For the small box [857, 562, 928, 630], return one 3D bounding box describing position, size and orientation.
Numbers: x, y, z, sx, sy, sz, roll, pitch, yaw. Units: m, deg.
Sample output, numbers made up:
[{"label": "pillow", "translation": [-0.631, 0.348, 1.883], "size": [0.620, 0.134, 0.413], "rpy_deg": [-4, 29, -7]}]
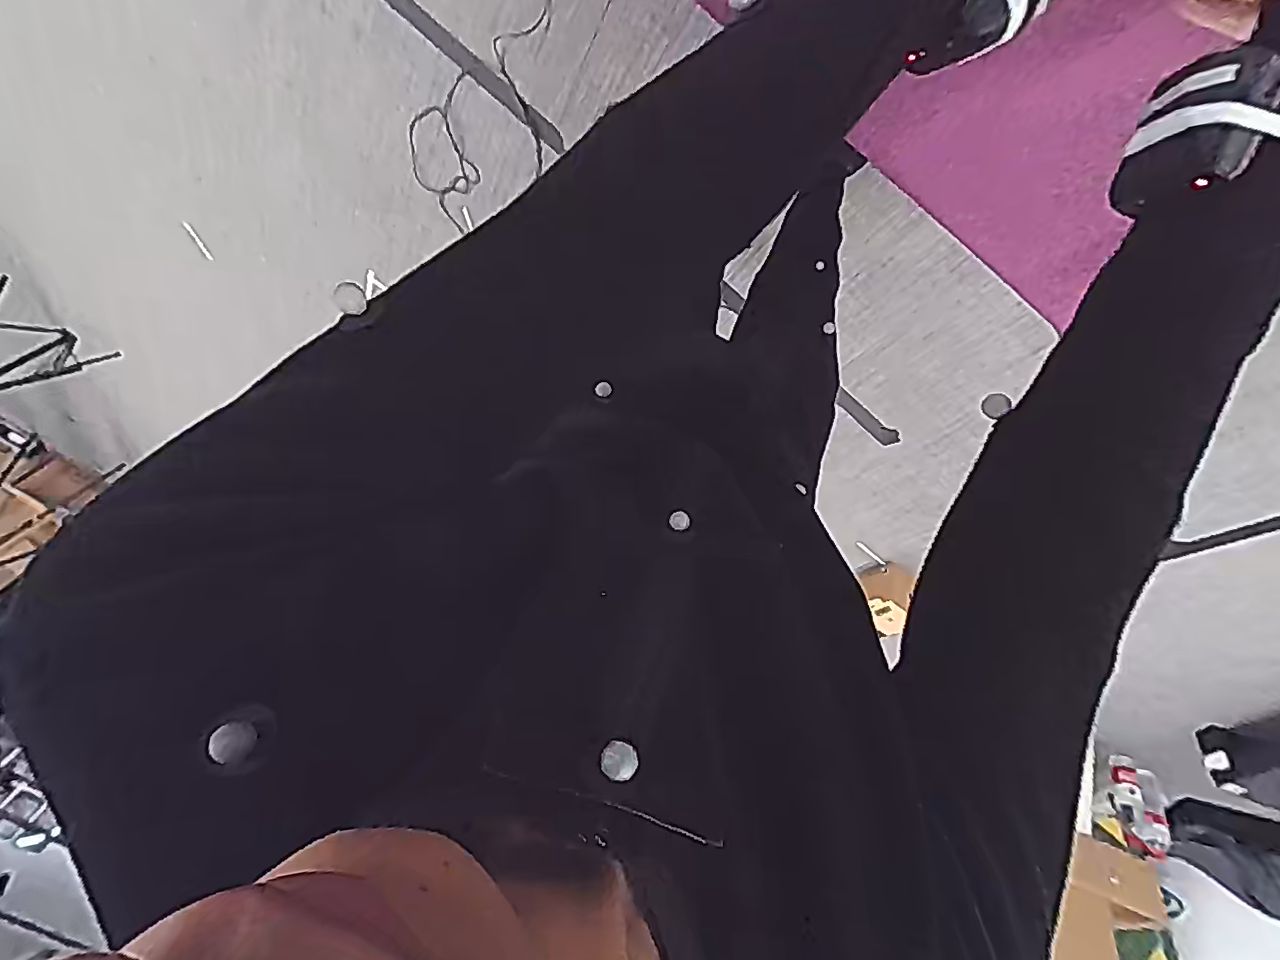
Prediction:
[{"label": "small box", "translation": [0.933, 0.421, 1.996], "size": [0.179, 0.176, 0.168], "rpy_deg": [35, 140, -11]}]
